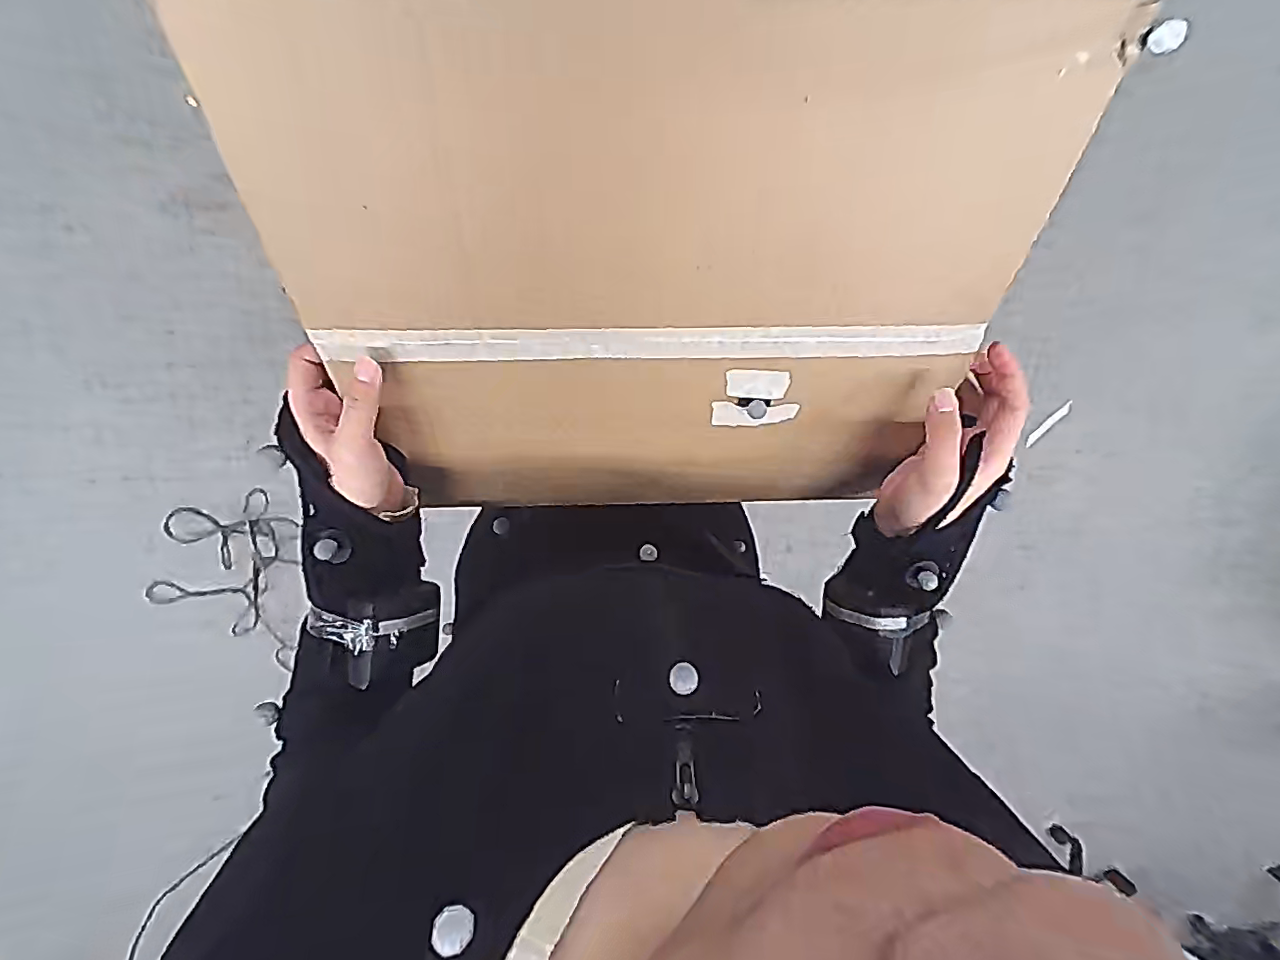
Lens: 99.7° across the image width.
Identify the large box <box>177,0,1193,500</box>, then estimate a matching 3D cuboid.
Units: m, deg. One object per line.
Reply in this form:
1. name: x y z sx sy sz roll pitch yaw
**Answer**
1. large box: 0.014 -0.206 0.404 0.408 0.320 0.320 -2 138 -3
